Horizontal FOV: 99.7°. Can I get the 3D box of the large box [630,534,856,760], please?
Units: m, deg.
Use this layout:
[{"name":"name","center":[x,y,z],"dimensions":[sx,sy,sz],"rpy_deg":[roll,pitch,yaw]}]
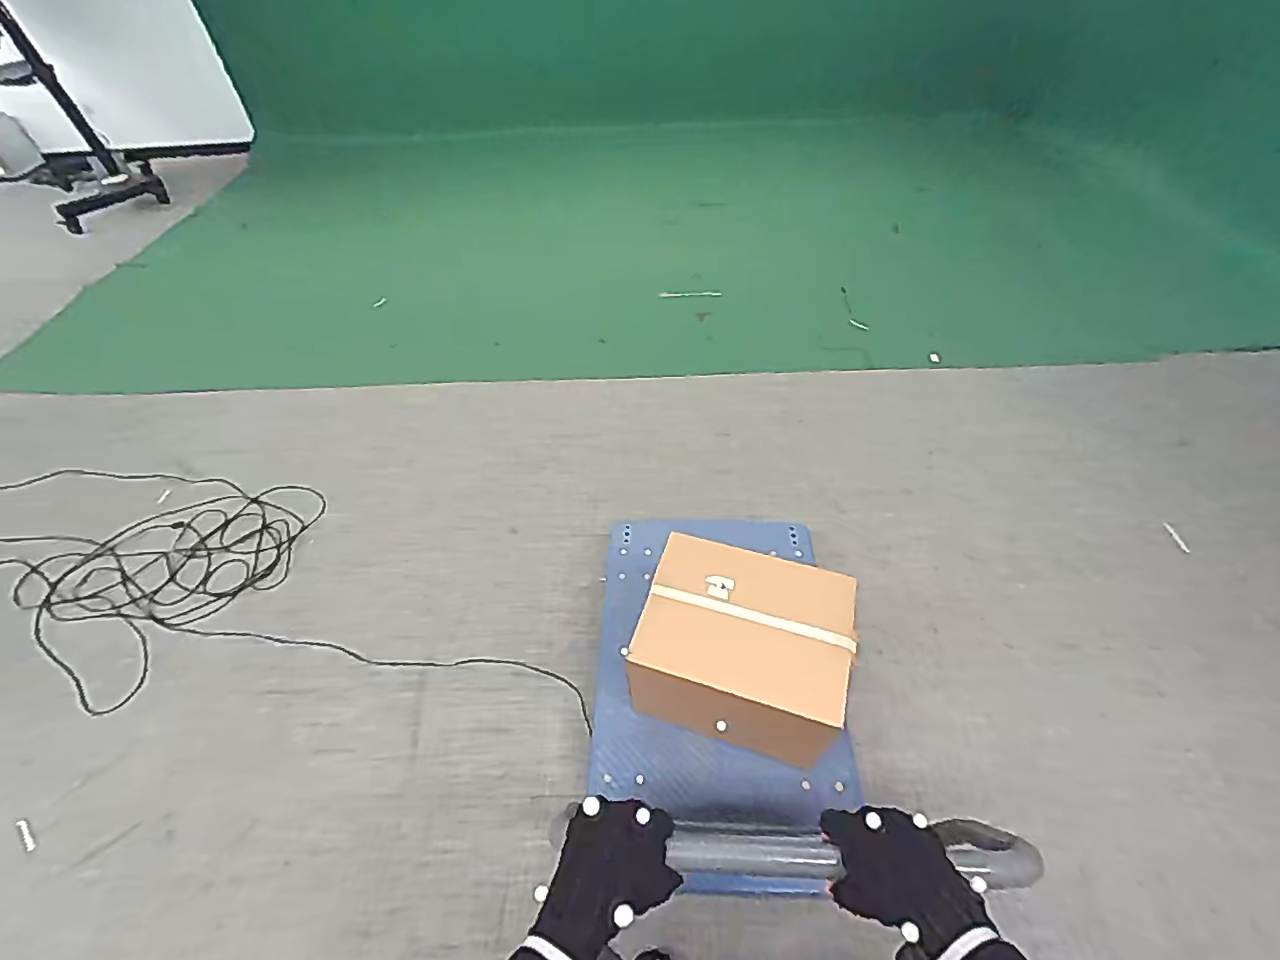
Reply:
[{"name":"large box","center":[0.225,0.365,1.185],"dimensions":[0.408,0.320,0.320],"rpy_deg":[12,52,15]}]
